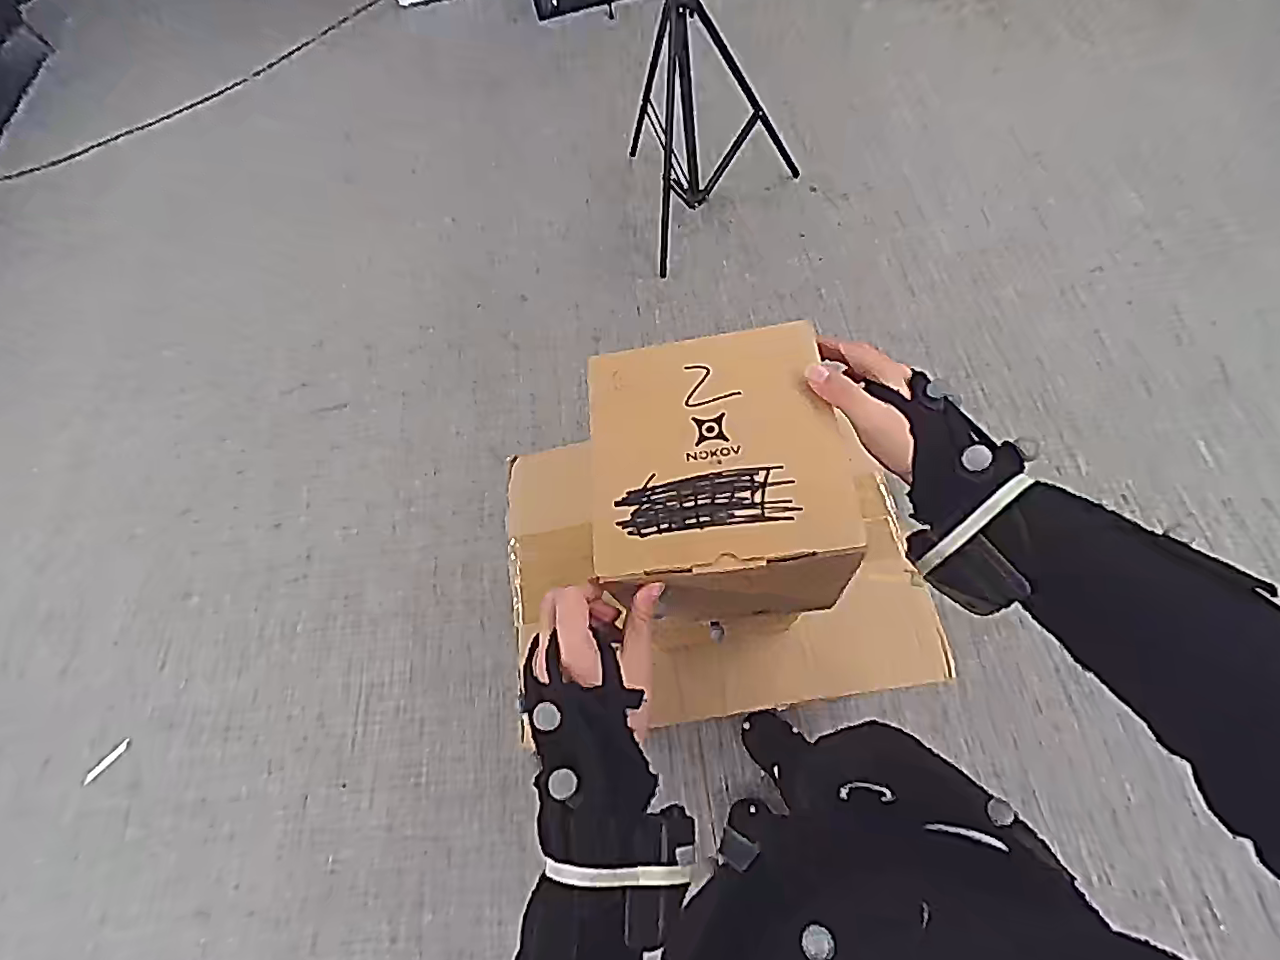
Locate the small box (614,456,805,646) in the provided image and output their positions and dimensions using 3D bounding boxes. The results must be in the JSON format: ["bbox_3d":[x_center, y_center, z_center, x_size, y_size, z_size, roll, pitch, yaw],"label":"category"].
[{"bbox_3d":[0.077,0.092,0.632,0.179,0.176,0.168,-11,66,6],"label":"small box"}]
